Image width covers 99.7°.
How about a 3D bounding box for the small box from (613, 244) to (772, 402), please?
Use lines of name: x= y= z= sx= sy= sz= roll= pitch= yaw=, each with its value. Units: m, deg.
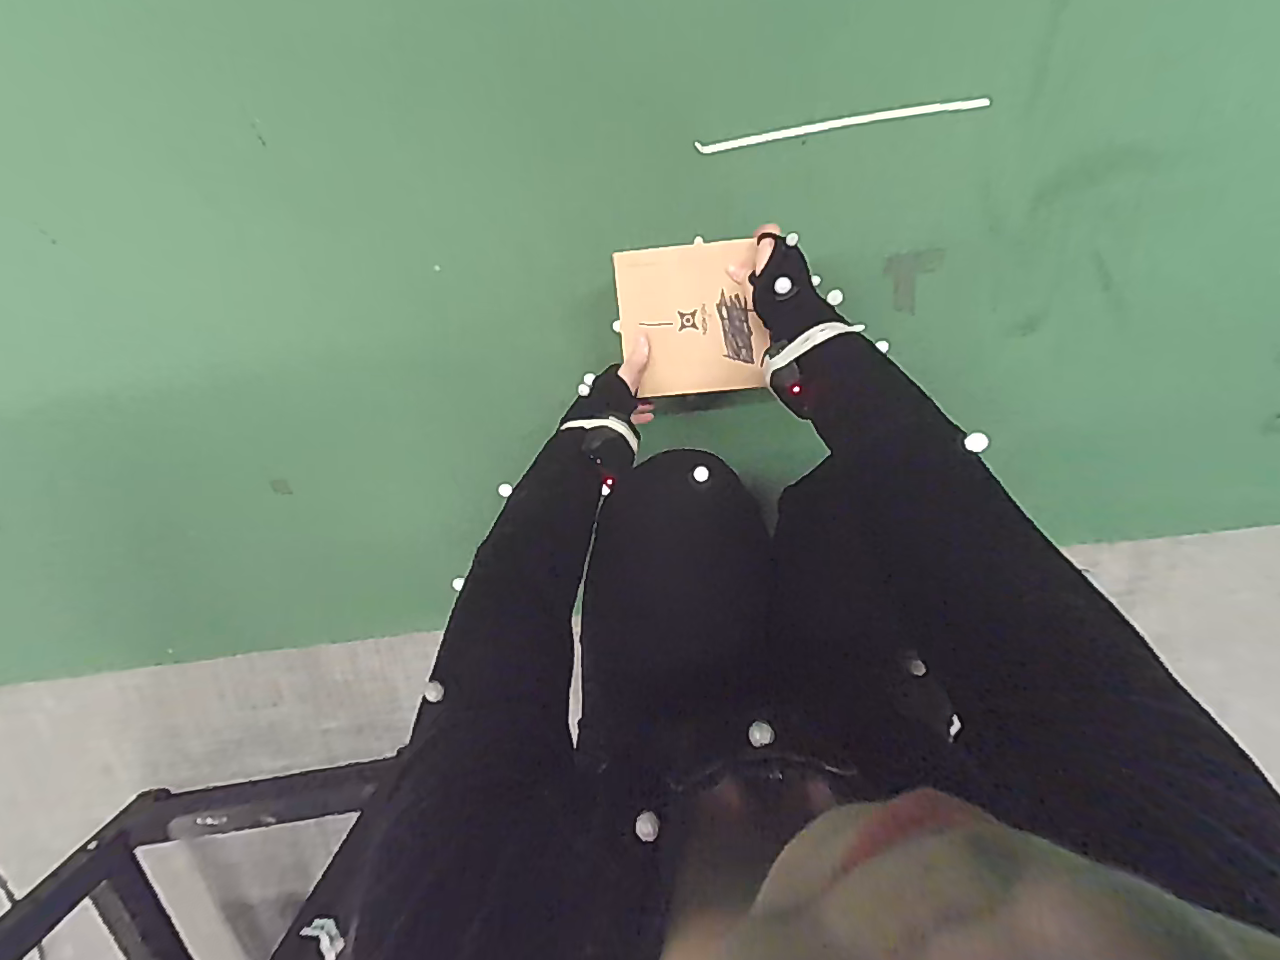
small box: x=0.066 y=-0.197 z=0.697 sx=0.179 sy=0.176 sz=0.168 roll=-4 pitch=103 yaw=5
